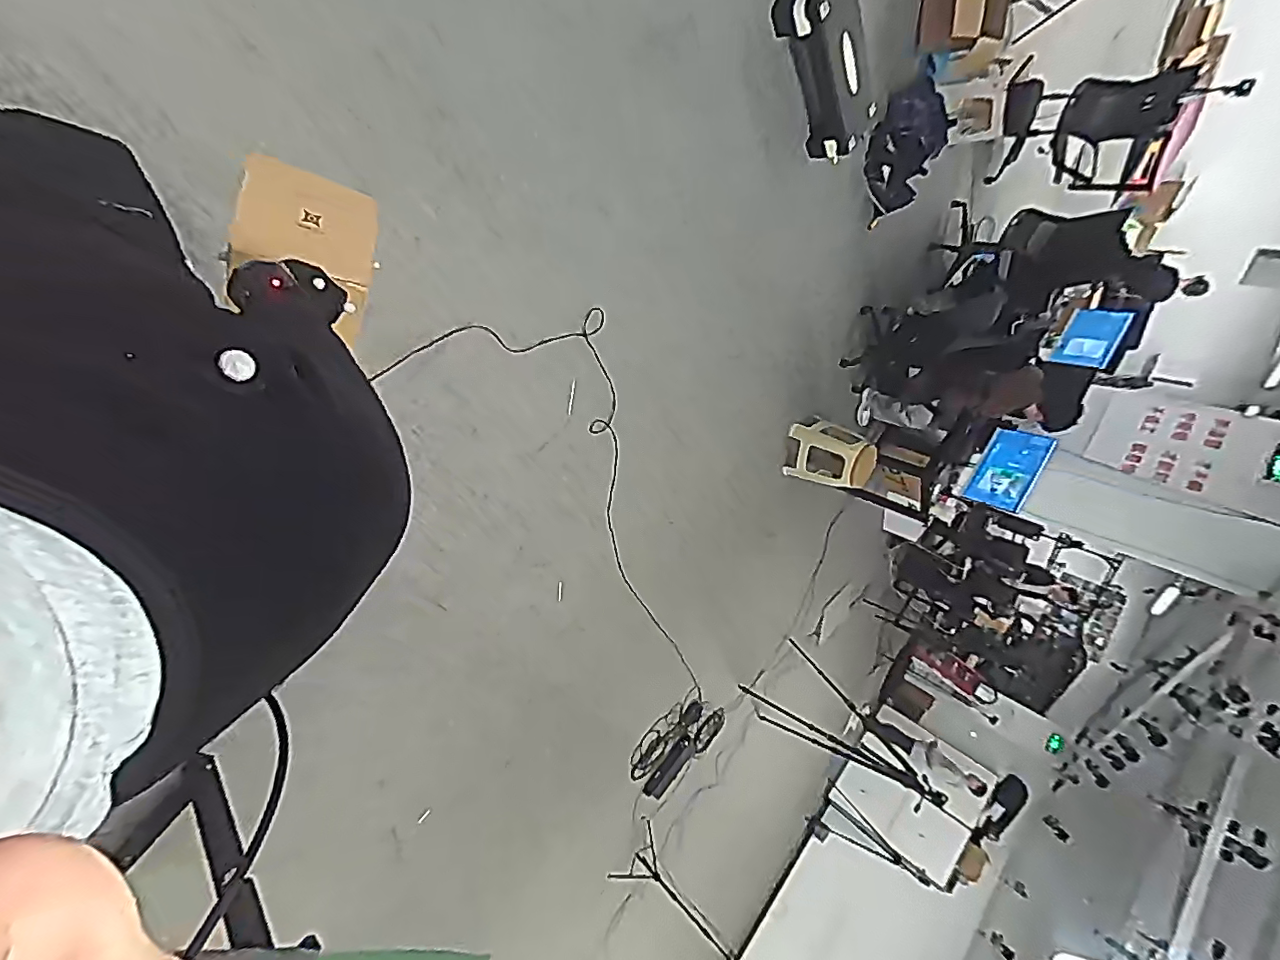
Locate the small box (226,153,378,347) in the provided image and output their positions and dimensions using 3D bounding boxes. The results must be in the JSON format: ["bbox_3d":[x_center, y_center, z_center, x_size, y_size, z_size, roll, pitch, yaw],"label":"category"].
[{"bbox_3d":[-0.504,-0.327,0.807,0.168,0.176,0.179,9,62,-37],"label":"small box"}]
